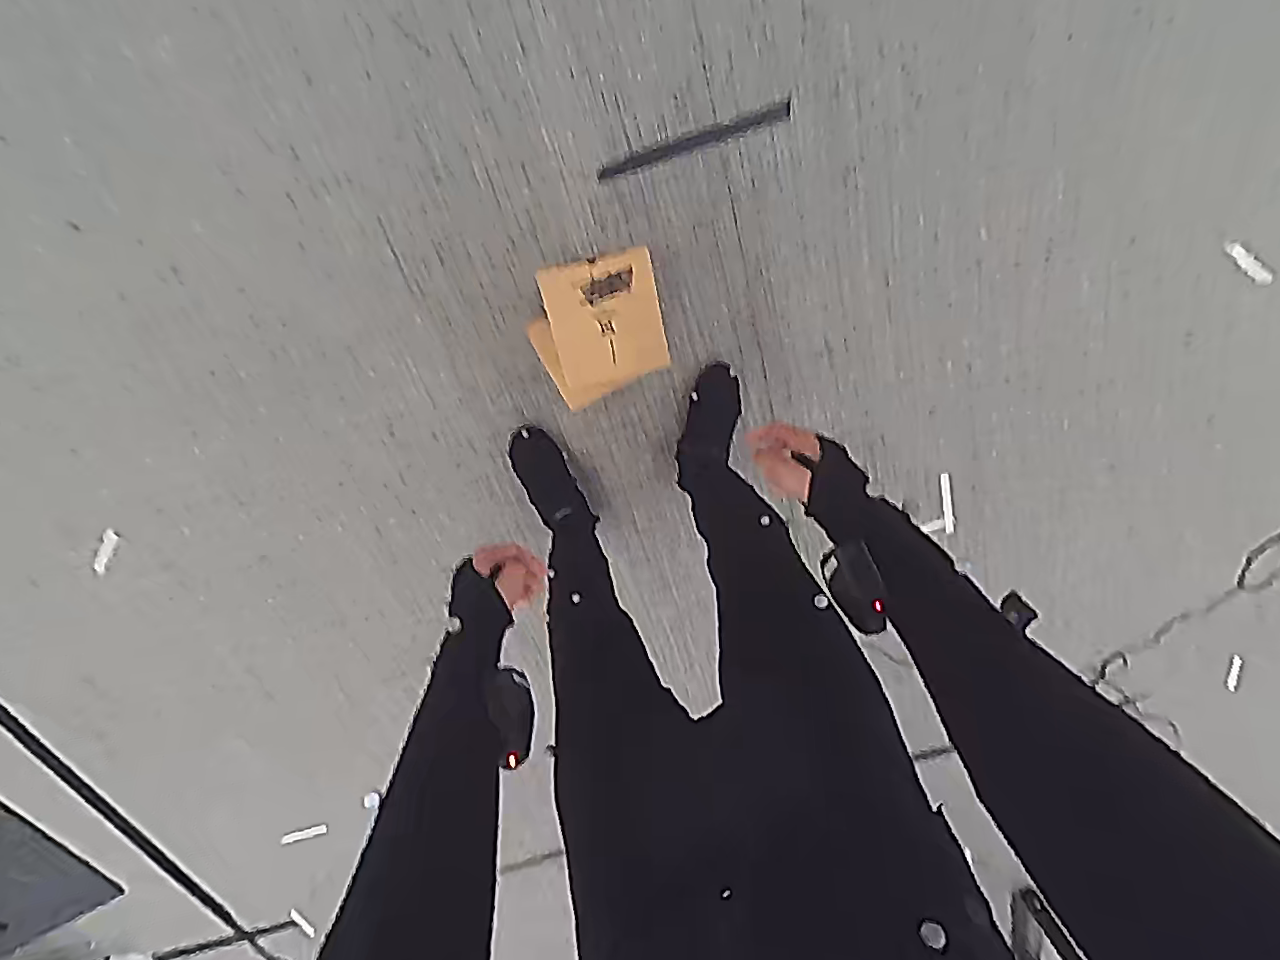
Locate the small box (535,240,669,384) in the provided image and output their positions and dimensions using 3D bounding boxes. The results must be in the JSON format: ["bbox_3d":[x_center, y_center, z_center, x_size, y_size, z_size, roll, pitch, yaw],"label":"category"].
[{"bbox_3d":[-0.058,-0.270,0.857,0.168,0.176,0.179,-13,114,2],"label":"small box"}]

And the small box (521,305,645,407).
[{"bbox_3d":[-0.106,-0.270,1.032,0.168,0.176,0.179,-27,114,7],"label":"small box"}]
